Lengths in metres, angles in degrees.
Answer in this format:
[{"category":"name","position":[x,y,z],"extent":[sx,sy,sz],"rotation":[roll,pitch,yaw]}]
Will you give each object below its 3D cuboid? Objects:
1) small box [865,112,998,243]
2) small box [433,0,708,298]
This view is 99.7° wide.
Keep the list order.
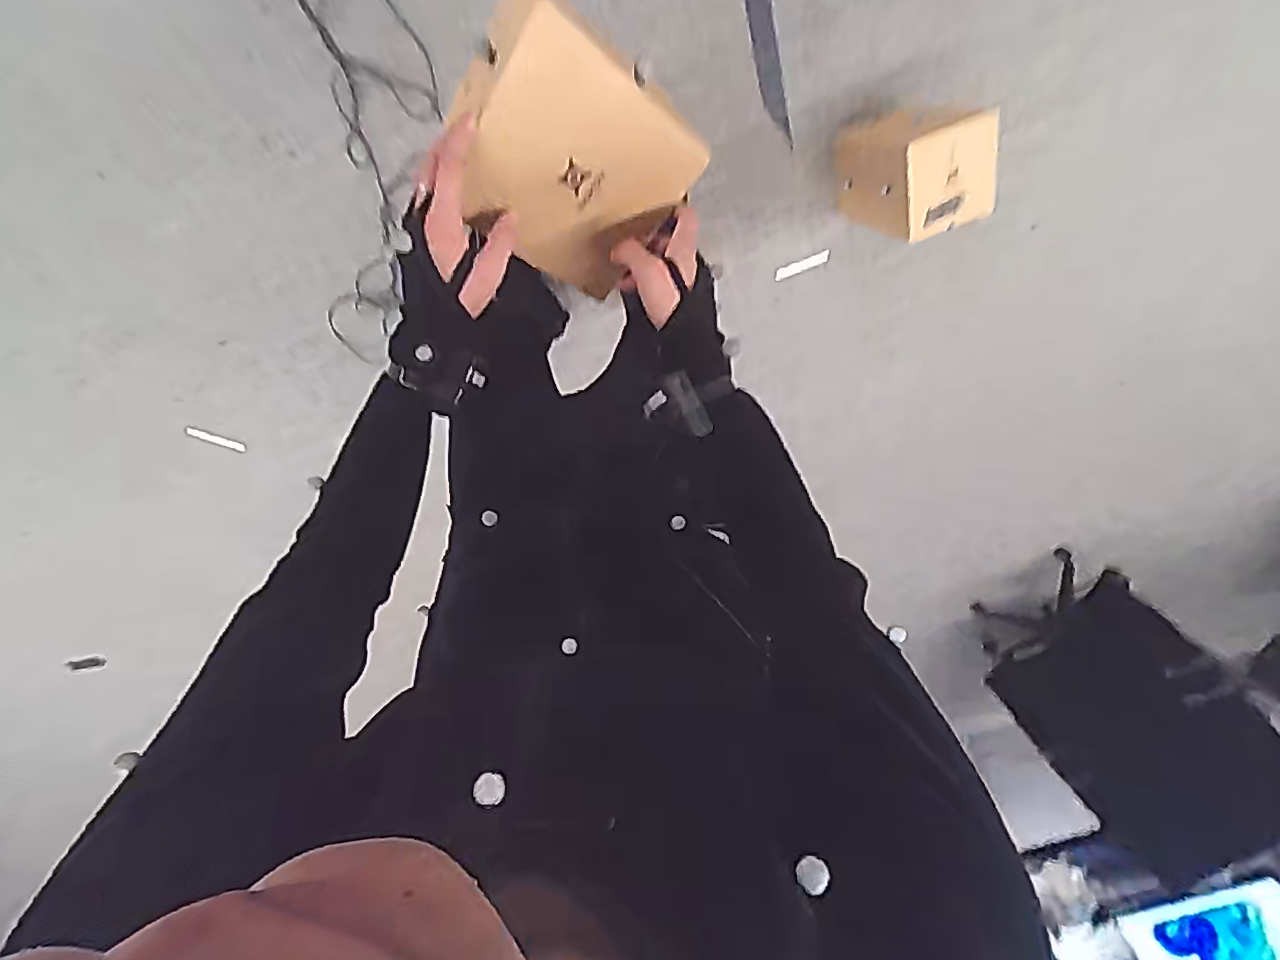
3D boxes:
[{"category":"small box","position":[0.560,-0.596,1.059],"extent":[0.168,0.176,0.179],"rotation":[-19,125,4]},{"category":"small box","position":[-0.073,-0.312,0.499],"extent":[0.179,0.176,0.168],"rotation":[20,129,-38]}]
